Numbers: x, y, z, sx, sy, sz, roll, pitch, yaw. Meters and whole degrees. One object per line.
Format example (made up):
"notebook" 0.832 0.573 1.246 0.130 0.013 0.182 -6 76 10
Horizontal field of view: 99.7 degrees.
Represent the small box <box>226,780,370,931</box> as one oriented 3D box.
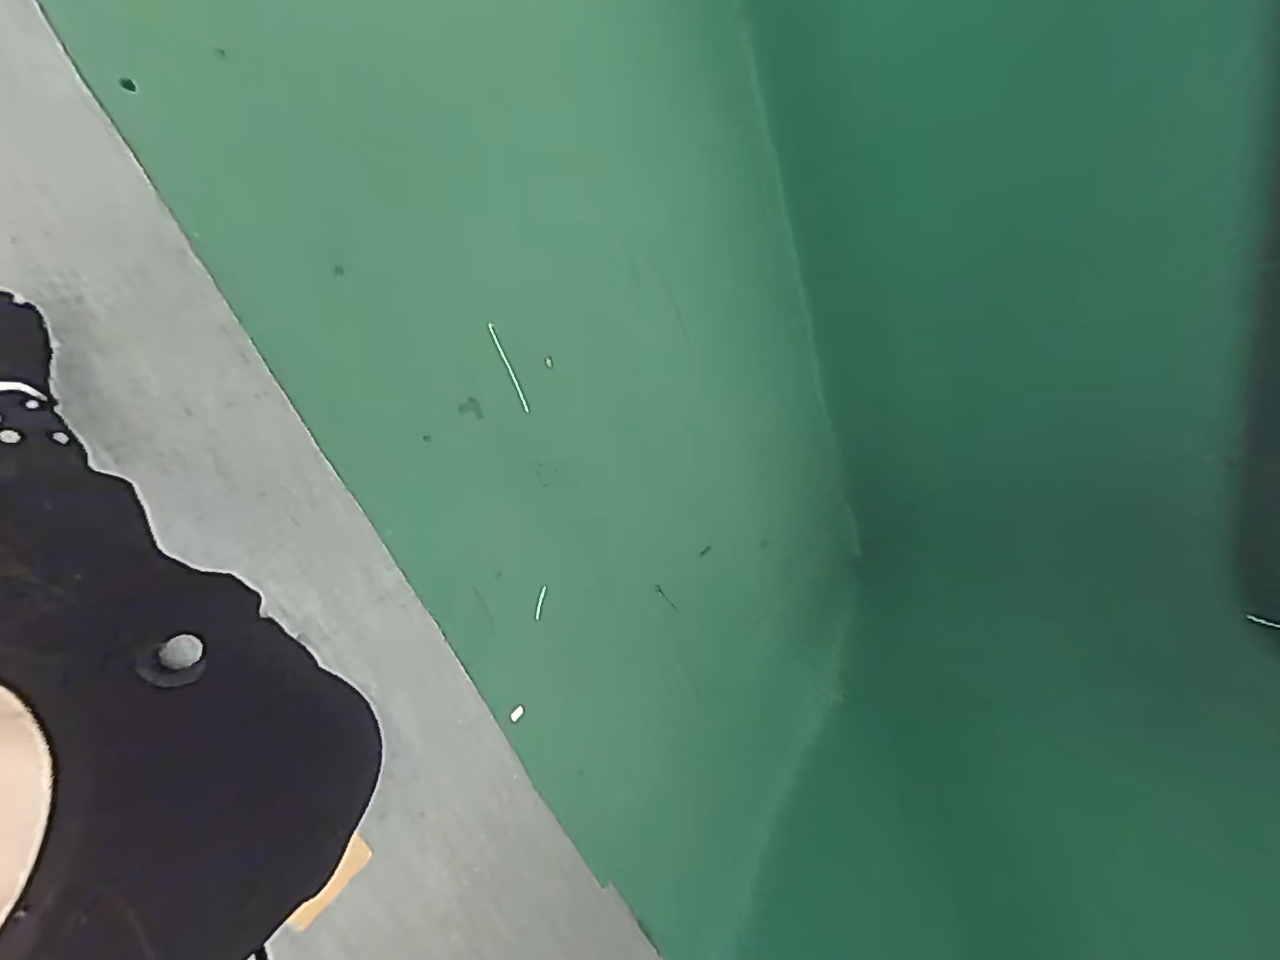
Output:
"small box" -0.709 0.766 1.123 0.168 0.176 0.179 -42 119 -43
